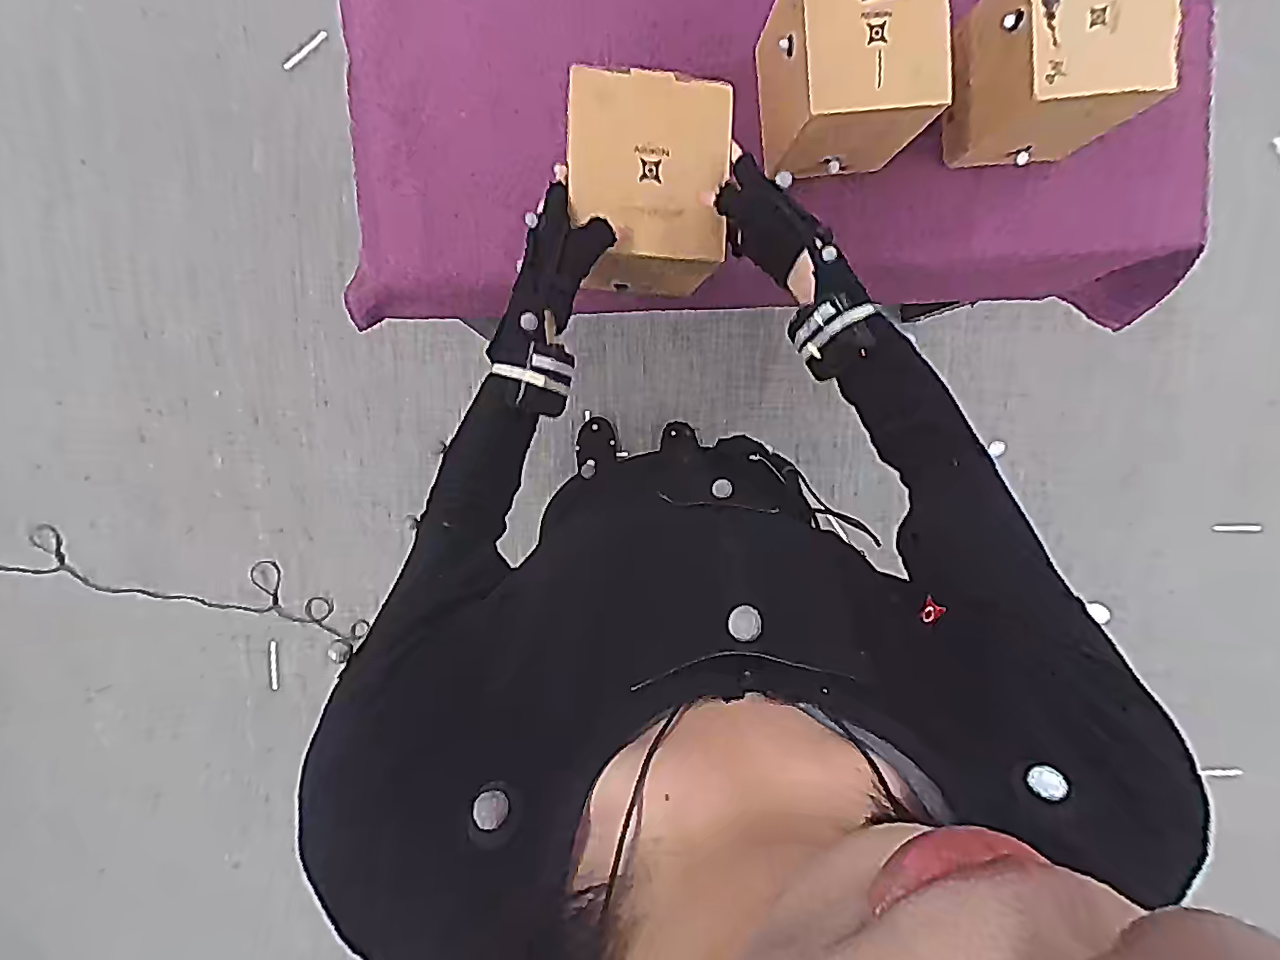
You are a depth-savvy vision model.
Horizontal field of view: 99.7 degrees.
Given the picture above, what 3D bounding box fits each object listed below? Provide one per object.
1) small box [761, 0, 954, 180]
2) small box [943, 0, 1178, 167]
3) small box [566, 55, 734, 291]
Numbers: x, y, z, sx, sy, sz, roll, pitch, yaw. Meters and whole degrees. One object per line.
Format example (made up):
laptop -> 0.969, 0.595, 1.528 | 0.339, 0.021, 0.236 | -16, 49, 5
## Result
small box -> 0.255, -0.503, 0.668 | 0.168, 0.176, 0.179 | -7, 96, -3
small box -> 0.517, -0.523, 0.685 | 0.179, 0.176, 0.168 | -6, 95, -3
small box -> 0.001, -0.329, 0.615 | 0.168, 0.176, 0.179 | 1, 97, -7
